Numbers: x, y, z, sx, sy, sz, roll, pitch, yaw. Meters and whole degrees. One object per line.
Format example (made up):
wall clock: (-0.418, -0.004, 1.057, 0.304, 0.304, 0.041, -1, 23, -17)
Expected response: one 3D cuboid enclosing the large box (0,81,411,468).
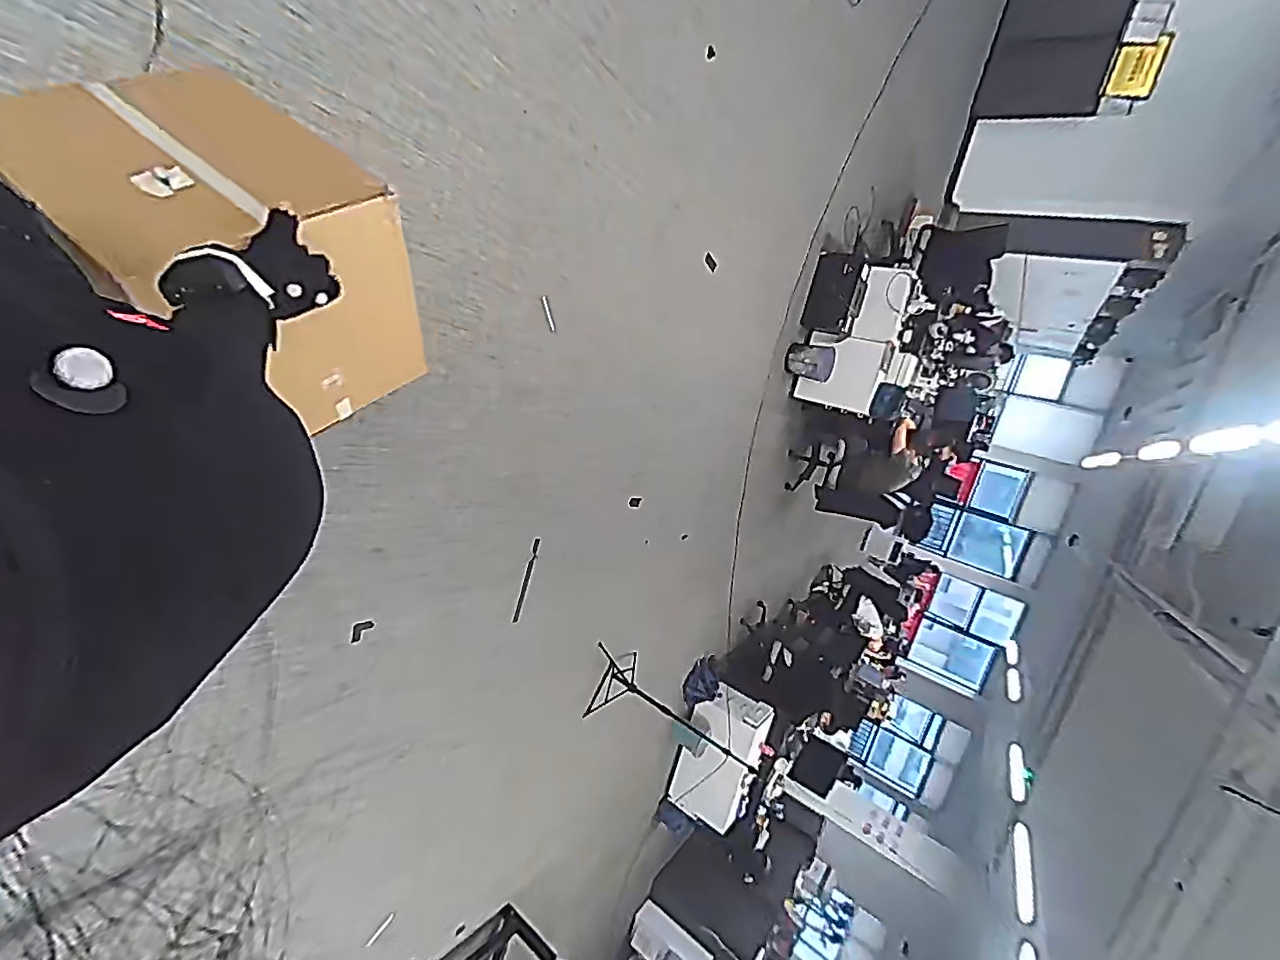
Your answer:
large box: (-0.603, -0.295, 0.774, 0.320, 0.408, 0.320, -44, 164, -34)
